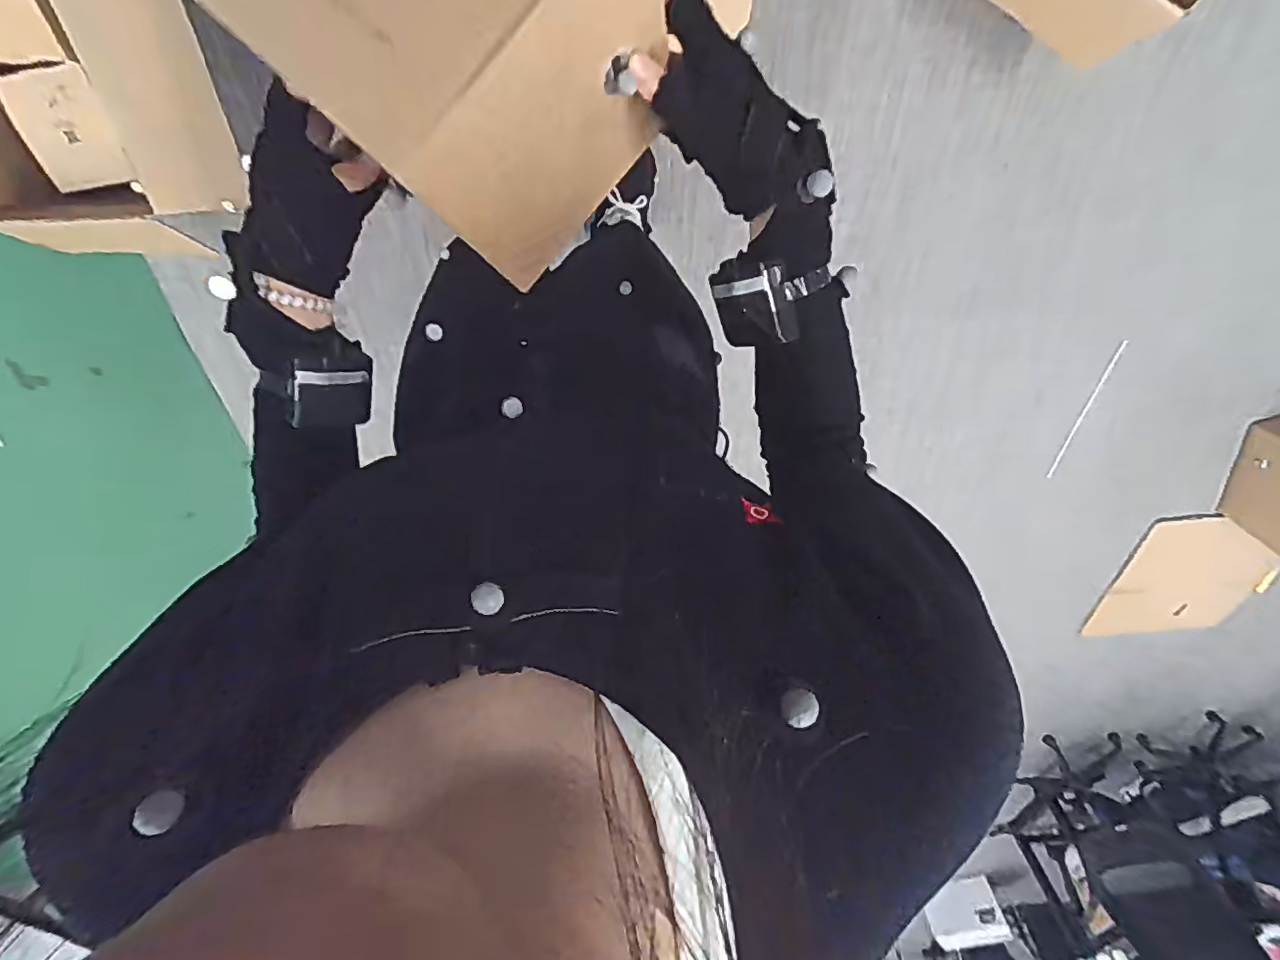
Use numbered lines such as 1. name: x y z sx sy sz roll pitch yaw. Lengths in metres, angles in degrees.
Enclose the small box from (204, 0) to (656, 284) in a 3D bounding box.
1. small box: -0.105 -0.263 0.347 0.168 0.176 0.179 42 99 6
